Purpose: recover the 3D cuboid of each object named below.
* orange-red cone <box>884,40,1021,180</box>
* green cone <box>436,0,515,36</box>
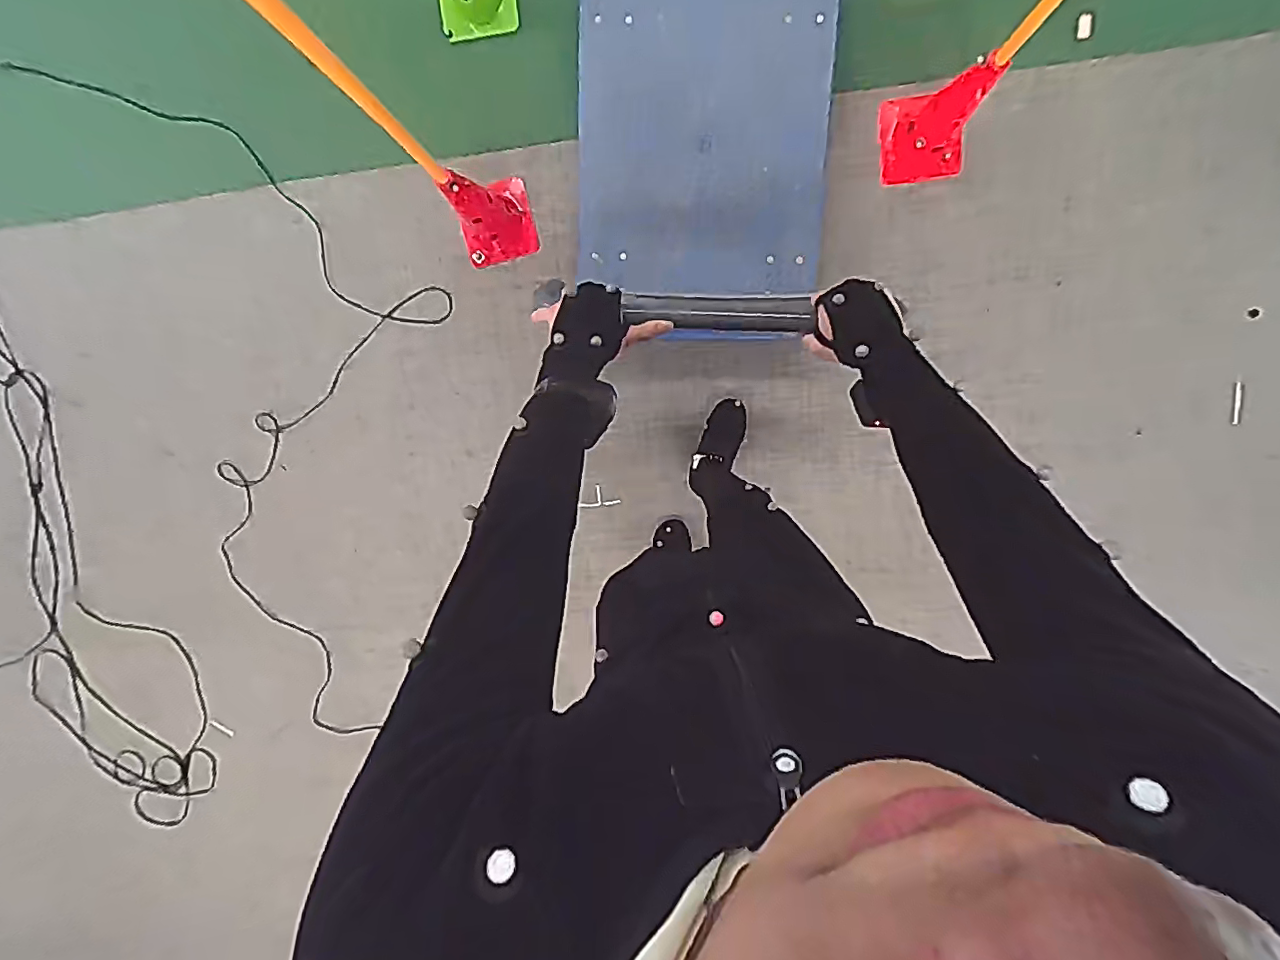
[{"bbox_3d":[0.697,-0.828,1.173,0.198,0.360,0.199,-5,99,5],"label":"orange-red cone"},{"bbox_3d":[-0.433,-1.203,1.181,0.200,0.368,0.202,-5,100,6],"label":"green cone"}]
